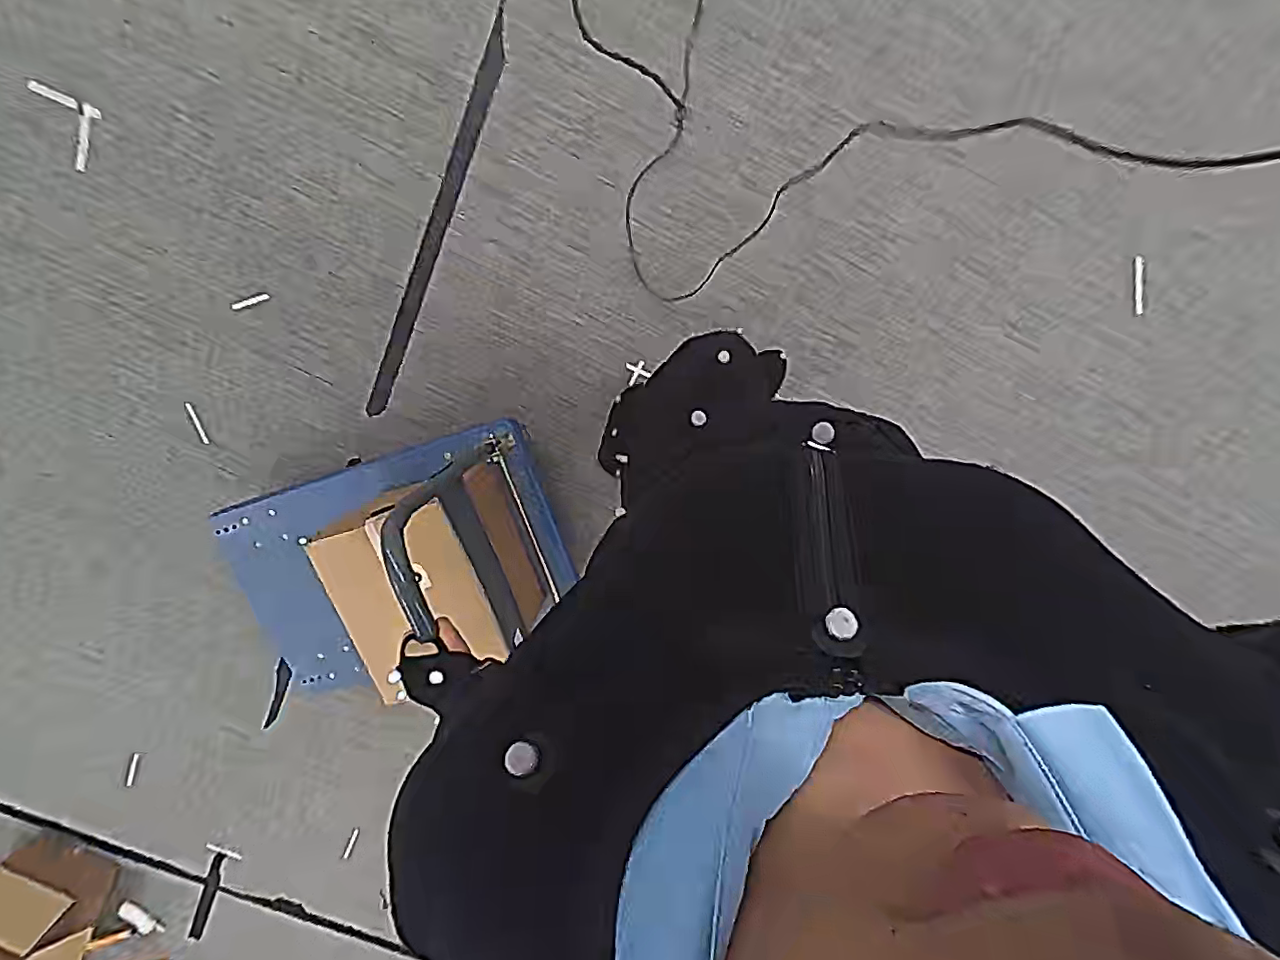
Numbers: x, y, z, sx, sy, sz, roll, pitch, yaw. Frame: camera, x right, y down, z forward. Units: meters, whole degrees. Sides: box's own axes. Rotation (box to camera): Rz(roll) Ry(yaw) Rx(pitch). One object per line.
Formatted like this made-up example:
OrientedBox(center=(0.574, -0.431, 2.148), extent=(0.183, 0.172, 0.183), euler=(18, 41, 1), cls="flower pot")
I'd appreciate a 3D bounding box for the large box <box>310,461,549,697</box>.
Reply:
OrientedBox(center=(-0.451, 0.214, 1.261), extent=(0.320, 0.320, 0.408), euler=(-17, 104, 6), cls="large box")
